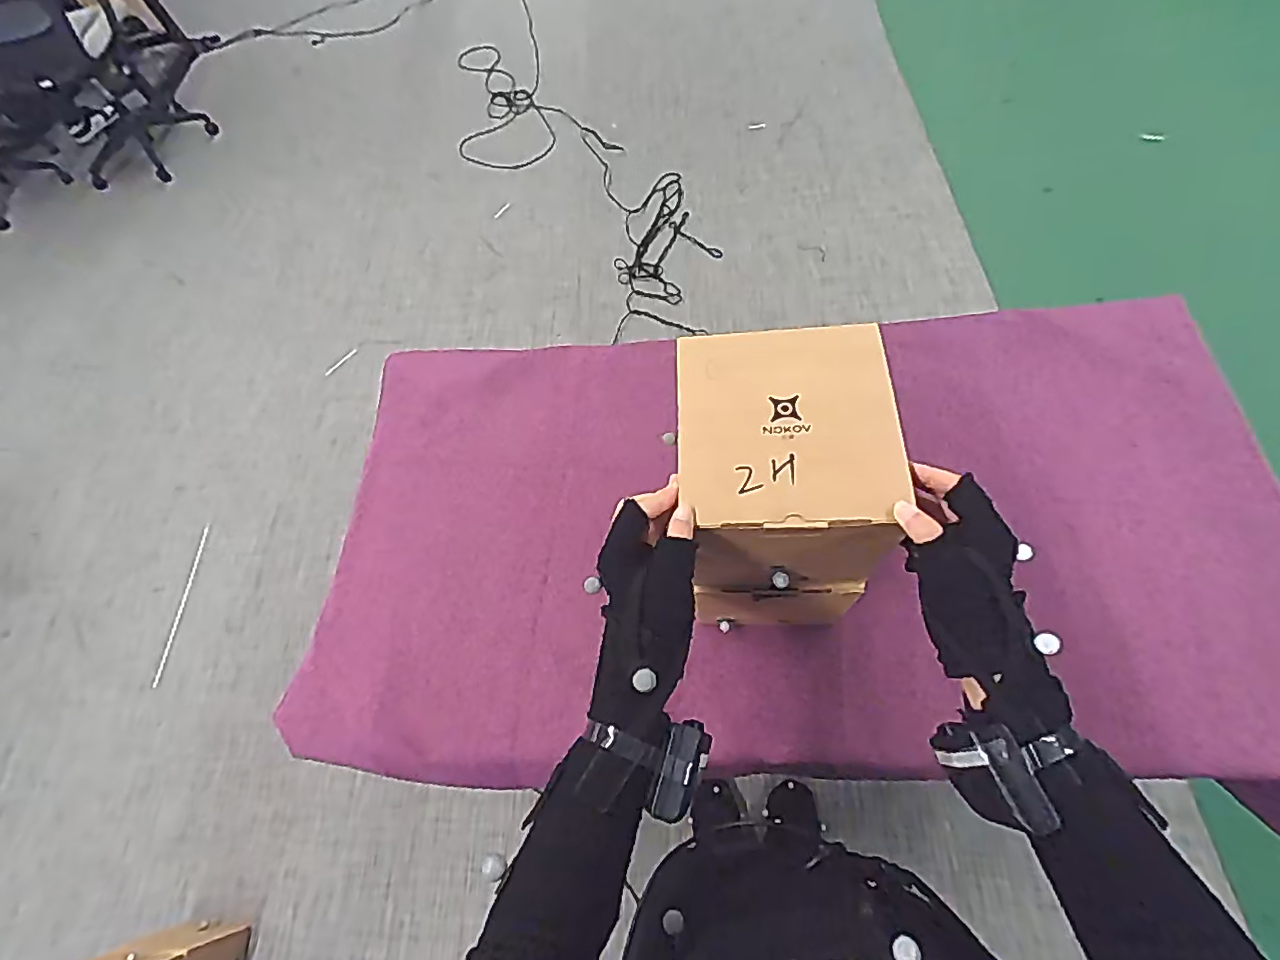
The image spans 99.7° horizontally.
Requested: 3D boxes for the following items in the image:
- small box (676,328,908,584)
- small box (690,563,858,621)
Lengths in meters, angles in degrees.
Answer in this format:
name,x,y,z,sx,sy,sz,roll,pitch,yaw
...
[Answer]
name,x,y,z,sx,sy,sz,roll,pitch,yaw
small box,0.122,-0.013,0.494,0.168,0.176,0.179,-2,65,9
small box,0.147,0.065,0.637,0.168,0.176,0.179,-2,64,8
